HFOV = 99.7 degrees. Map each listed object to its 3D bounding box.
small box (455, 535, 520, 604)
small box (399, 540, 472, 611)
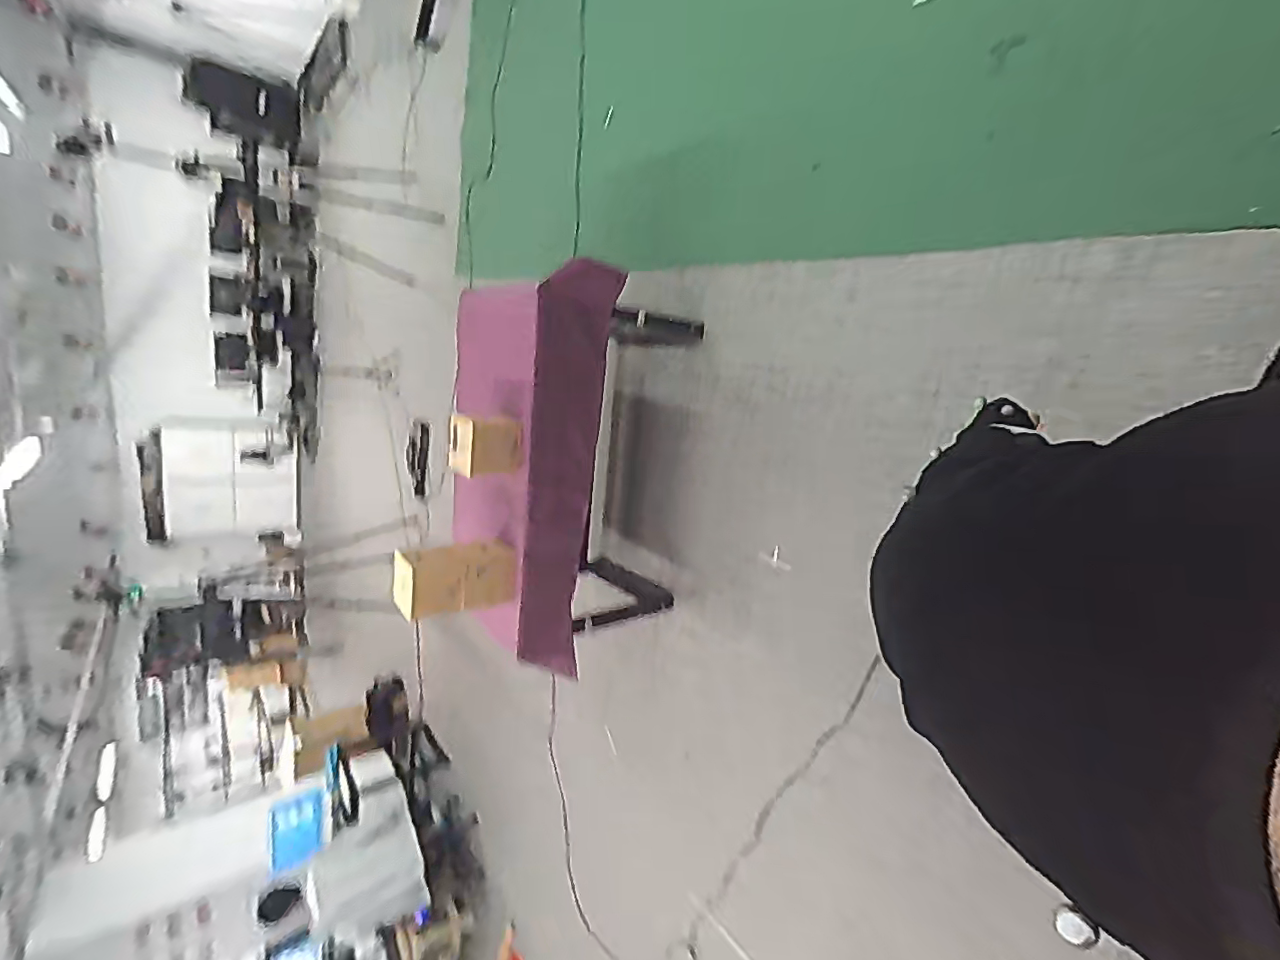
[{"bbox_3d":[-0.515,0.291,1.807,0.168,0.176,0.179,22,108,49],"label":"small box"},{"bbox_3d":[-0.648,0.295,1.712,0.179,0.176,0.168,22,108,48],"label":"small box"}]
